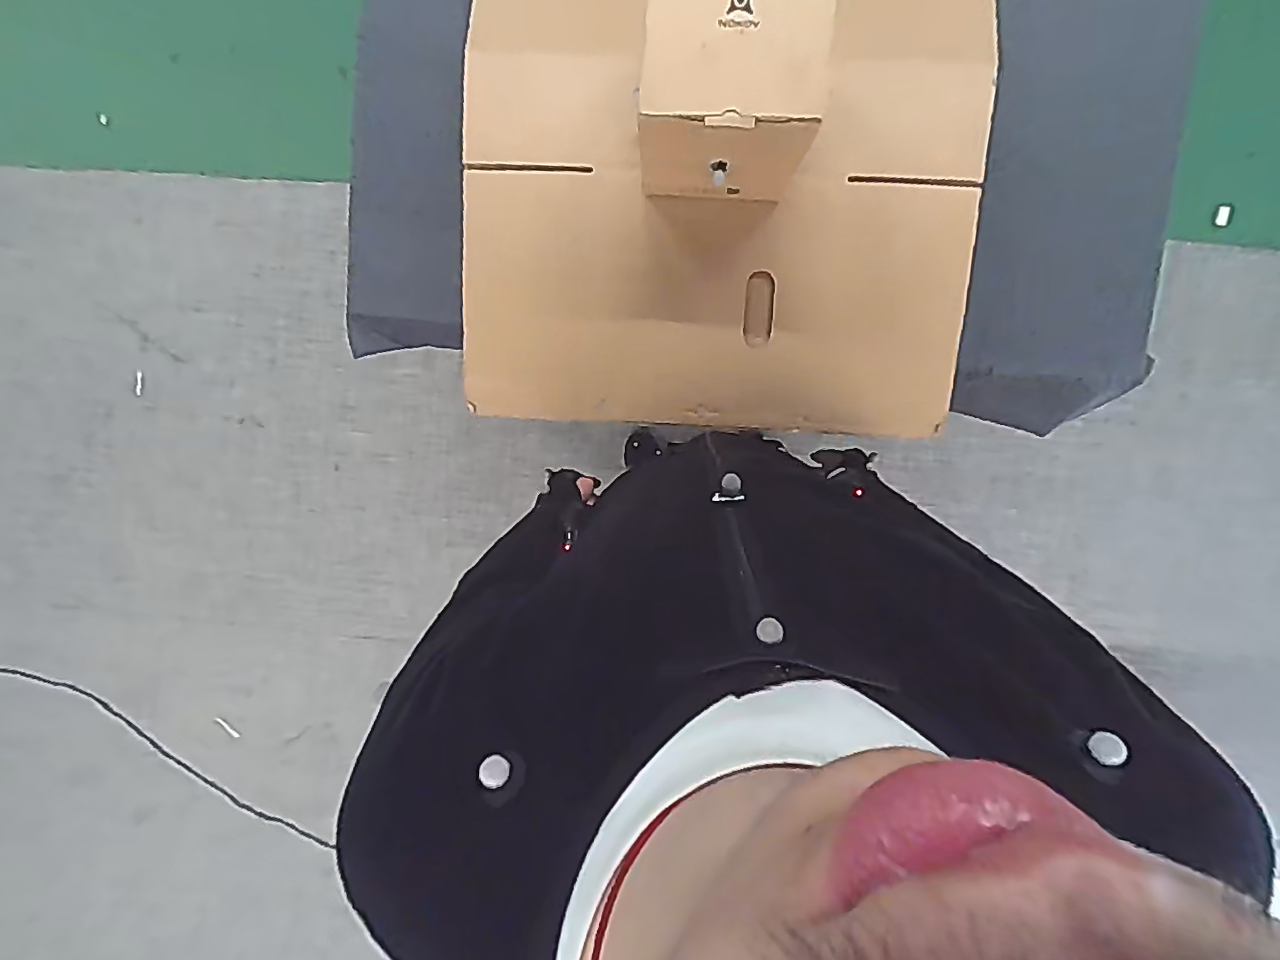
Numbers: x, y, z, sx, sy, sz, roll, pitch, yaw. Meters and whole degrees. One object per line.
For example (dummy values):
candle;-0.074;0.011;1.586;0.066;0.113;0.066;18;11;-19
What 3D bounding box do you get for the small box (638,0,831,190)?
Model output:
small box;0.088;-0.414;0.548;0.168;0.176;0.179;2;96;3
